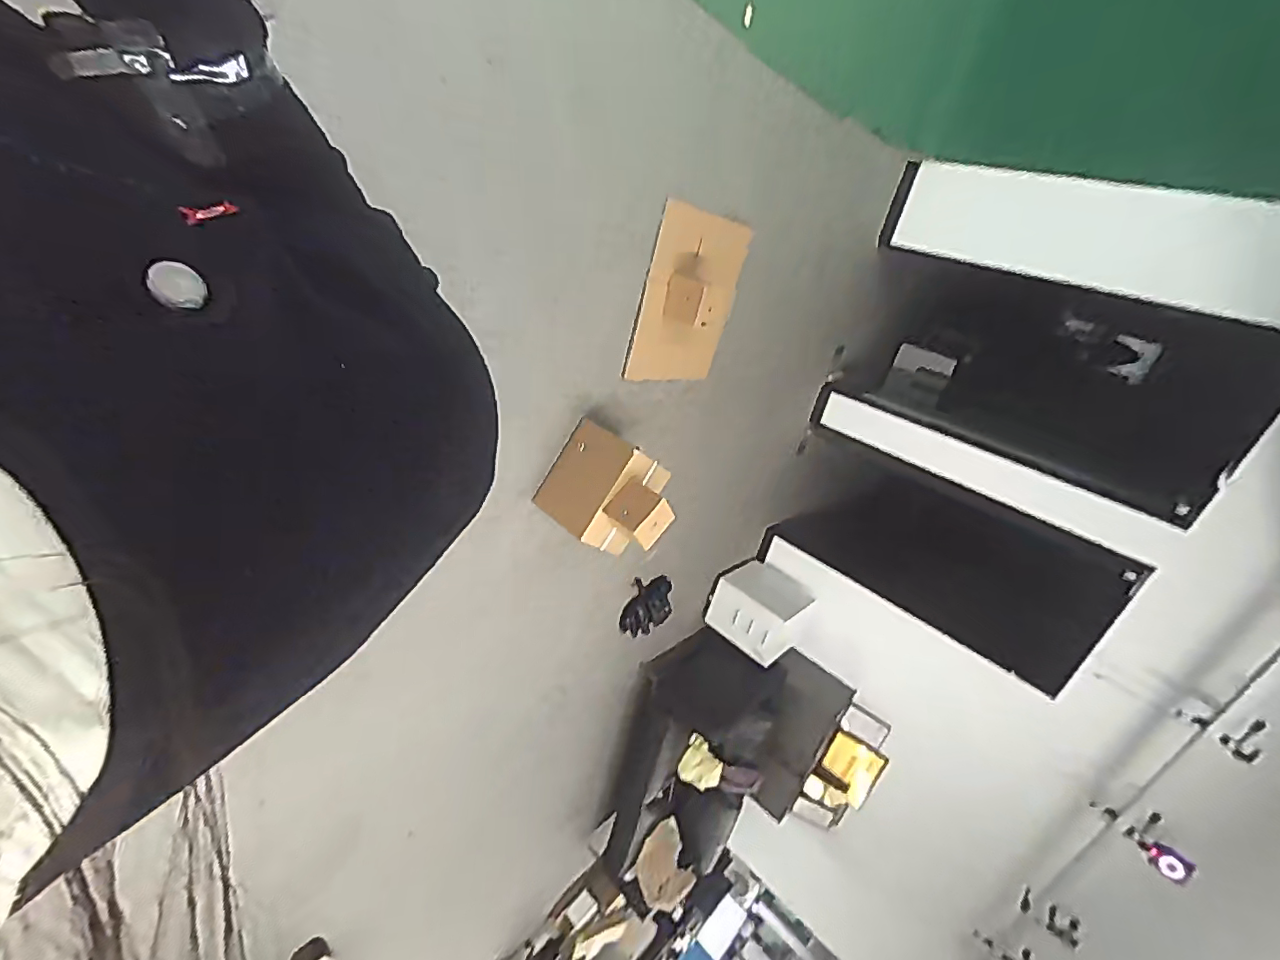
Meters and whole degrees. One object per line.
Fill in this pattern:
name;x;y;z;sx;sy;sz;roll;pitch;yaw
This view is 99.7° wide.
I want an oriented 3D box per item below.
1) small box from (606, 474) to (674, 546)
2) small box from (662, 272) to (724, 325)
small box;-0.006;0.112;2.030;0.179;0.176;0.168;-51;147;-13
small box;0.209;-0.730;2.169;0.168;0.176;0.179;-20;130;-46
